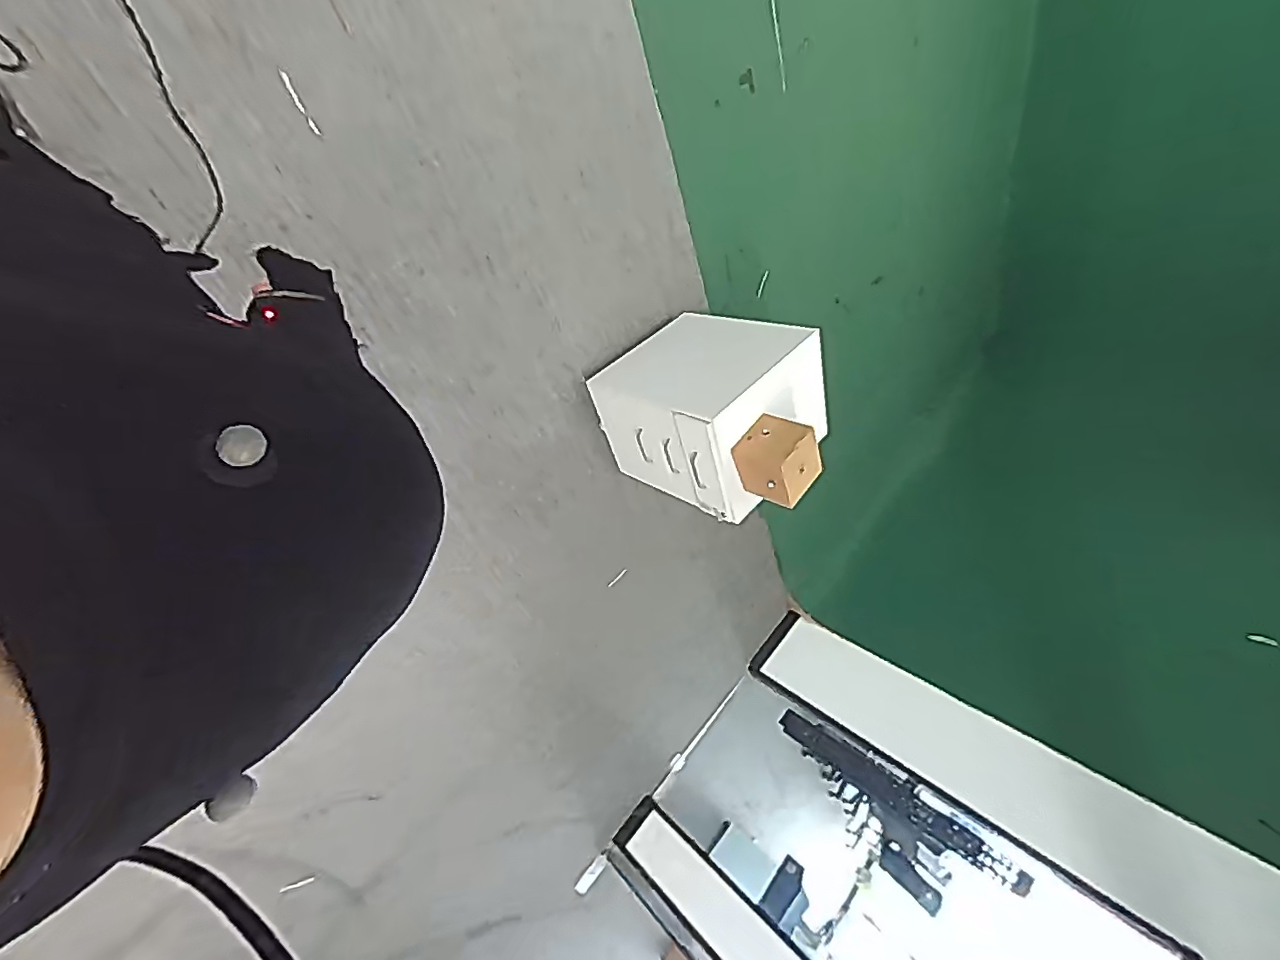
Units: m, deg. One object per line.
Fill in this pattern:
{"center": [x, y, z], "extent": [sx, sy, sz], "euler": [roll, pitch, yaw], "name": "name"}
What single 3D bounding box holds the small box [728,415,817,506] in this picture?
{"center": [0.376, -0.061, 1.533], "extent": [0.168, 0.176, 0.179], "euler": [-46, 134, -21], "name": "small box"}
